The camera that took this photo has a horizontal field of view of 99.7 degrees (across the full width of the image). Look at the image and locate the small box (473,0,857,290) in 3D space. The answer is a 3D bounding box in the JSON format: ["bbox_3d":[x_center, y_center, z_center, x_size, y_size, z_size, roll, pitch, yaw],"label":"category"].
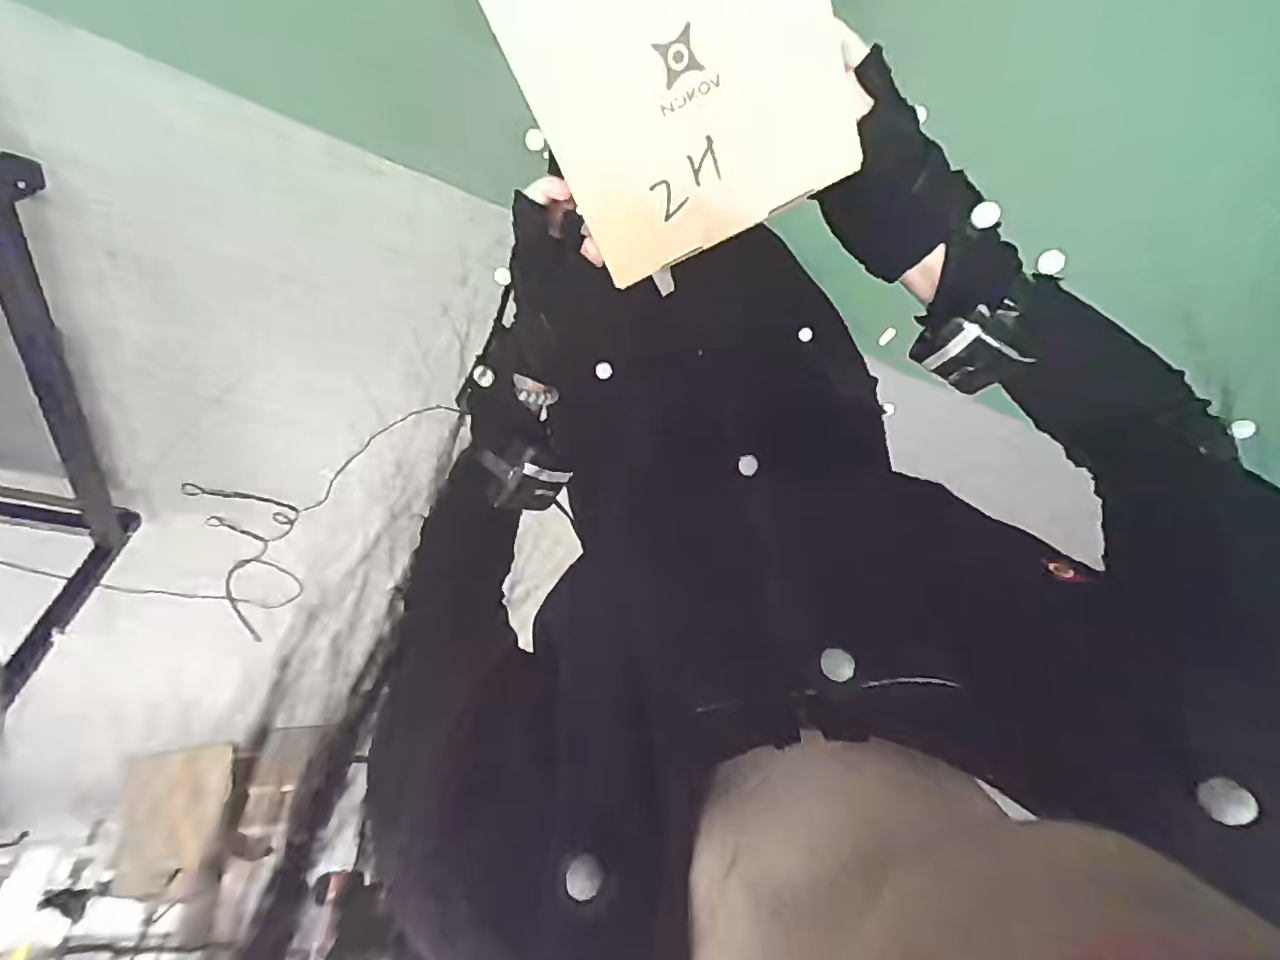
[{"bbox_3d":[0.016,-0.259,0.362,0.168,0.176,0.179,-23,120,12],"label":"small box"}]
